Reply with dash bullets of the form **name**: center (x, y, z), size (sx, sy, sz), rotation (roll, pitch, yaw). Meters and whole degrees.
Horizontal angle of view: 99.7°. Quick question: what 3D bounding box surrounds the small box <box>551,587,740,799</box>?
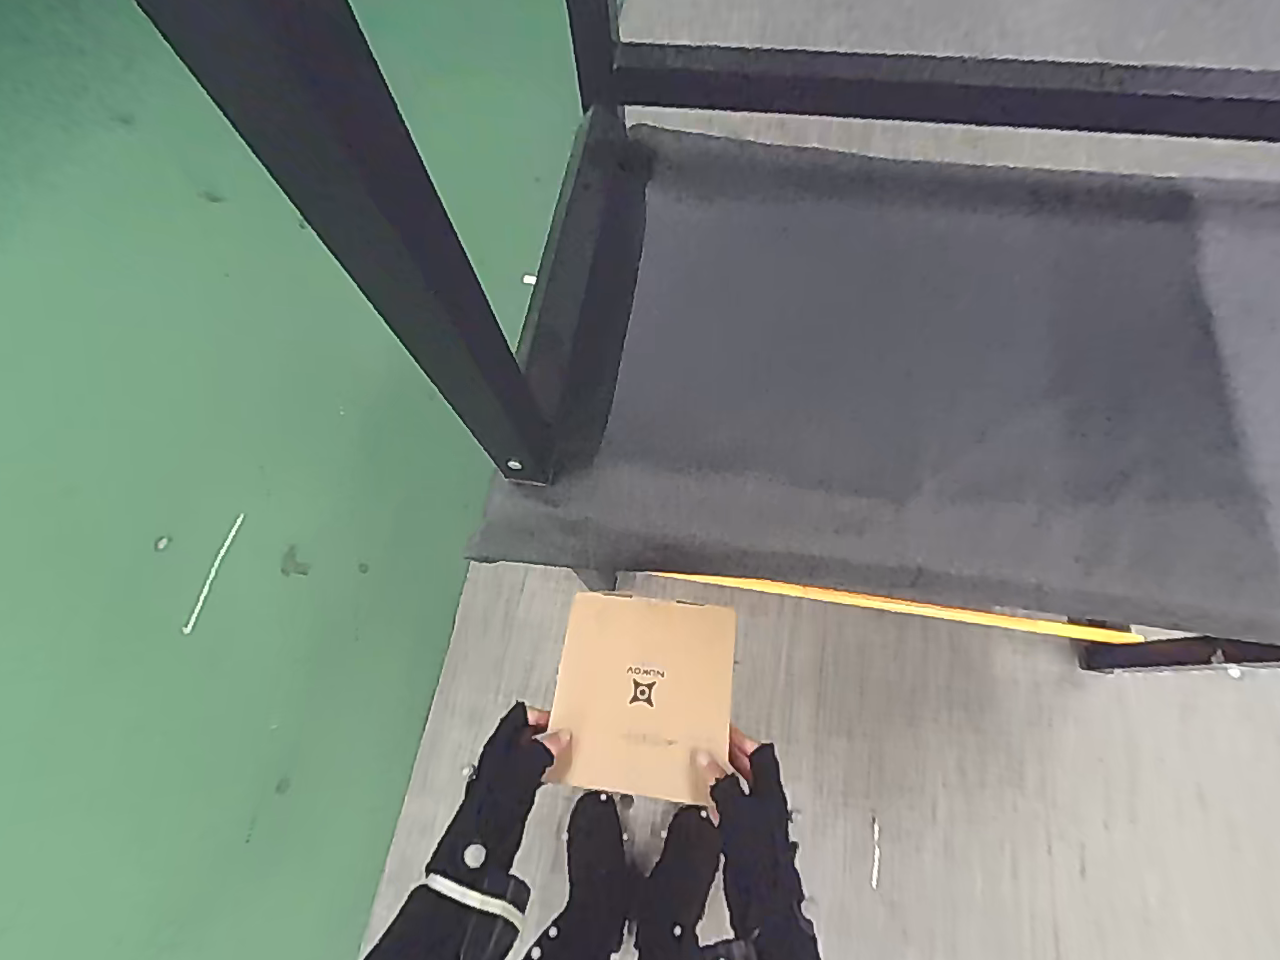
- **small box**: center (0.015, 0.231, 0.587), size (0.168, 0.176, 0.179), rotation (4, 63, 8)
